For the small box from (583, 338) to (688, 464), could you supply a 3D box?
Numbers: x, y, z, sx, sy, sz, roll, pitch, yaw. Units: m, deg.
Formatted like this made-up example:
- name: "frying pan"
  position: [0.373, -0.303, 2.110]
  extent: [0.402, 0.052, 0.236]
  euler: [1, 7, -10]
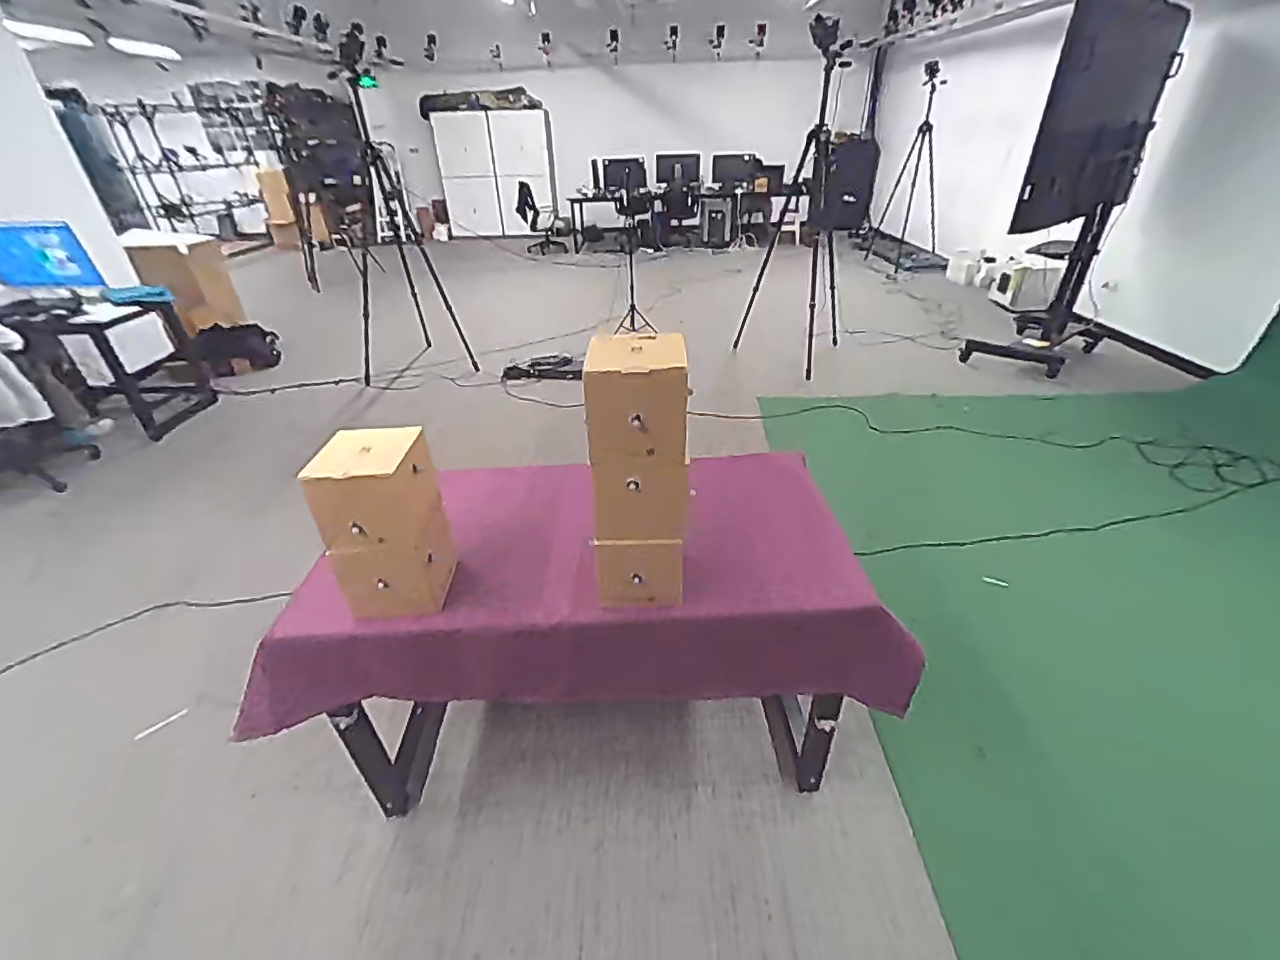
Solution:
- name: "small box"
  position: [-0.001, -0.136, 0.941]
  extent: [0.168, 0.176, 0.179]
  euler: [0, 34, 2]

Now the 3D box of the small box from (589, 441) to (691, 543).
- name: "small box"
  position: [0.004, 0.006, 1.023]
  extent: [0.179, 0.176, 0.168]
  euler: [0, 33, 2]

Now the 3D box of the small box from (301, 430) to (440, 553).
- name: "small box"
  position: [-0.493, 0.020, 1.024]
  extent: [0.168, 0.176, 0.179]
  euler: [-2, 33, -1]

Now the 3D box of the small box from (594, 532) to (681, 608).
- name: "small box"
  position: [0.000, 0.147, 1.109]
  extent: [0.168, 0.176, 0.179]
  euler: [0, 32, 1]
